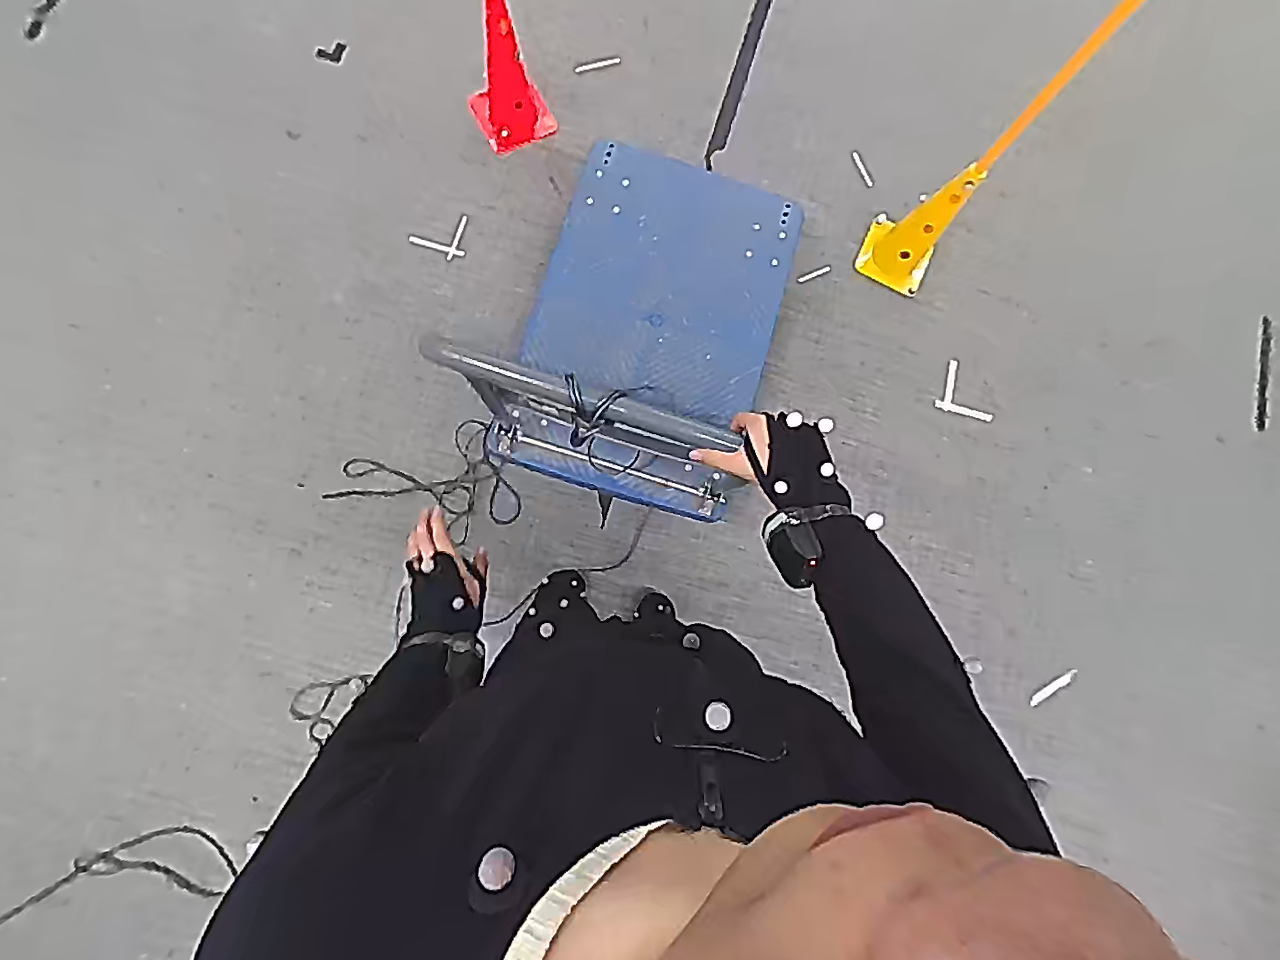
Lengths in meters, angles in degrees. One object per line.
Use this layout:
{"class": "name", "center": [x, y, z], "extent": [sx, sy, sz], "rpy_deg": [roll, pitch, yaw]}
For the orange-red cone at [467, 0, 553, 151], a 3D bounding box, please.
{"class": "orange-red cone", "center": [-0.351, -1.076, 1.381], "extent": [0.199, 0.360, 0.198], "rpy_deg": [-27, 86, -11]}
